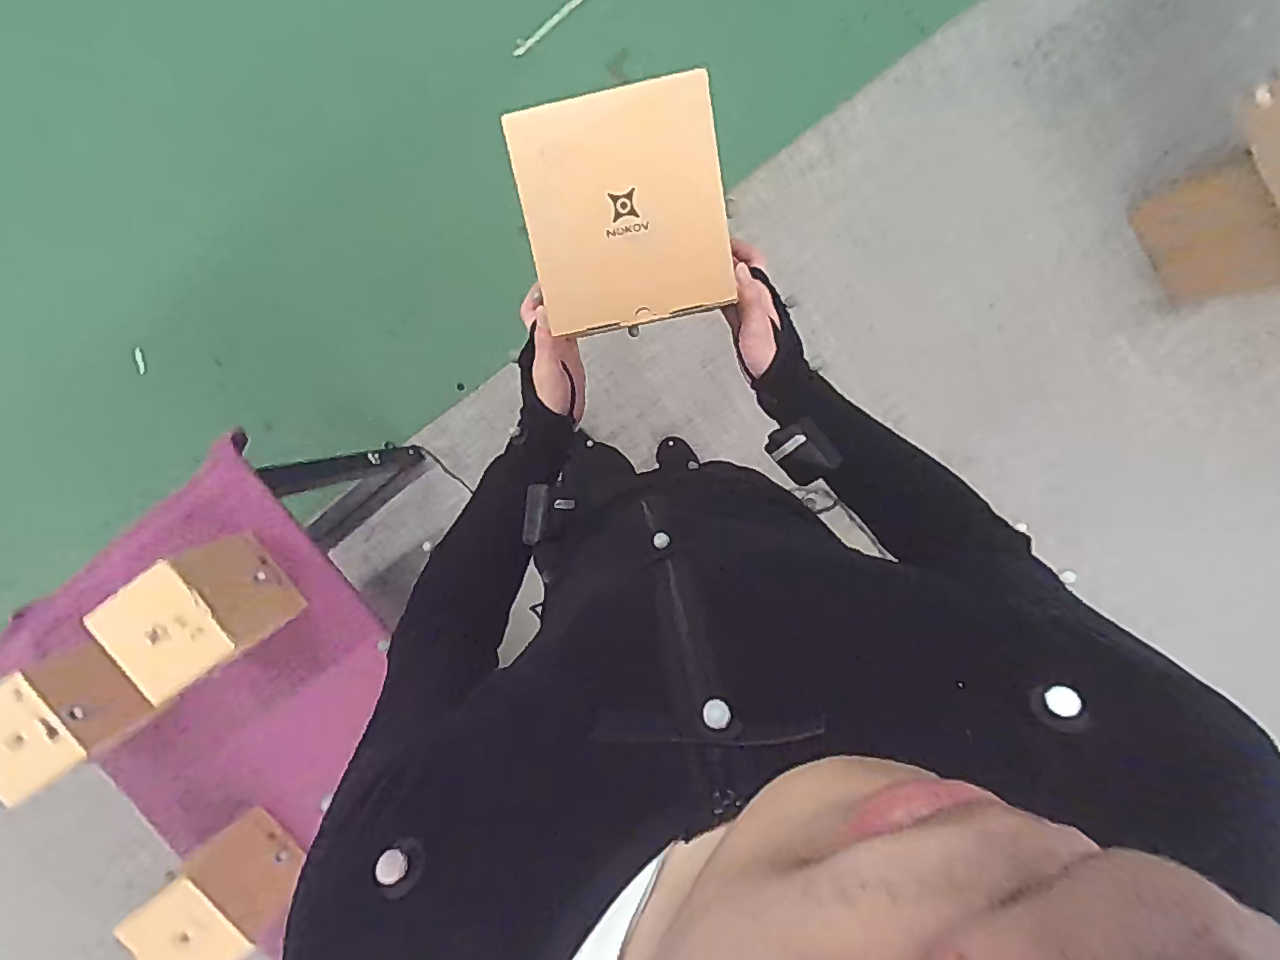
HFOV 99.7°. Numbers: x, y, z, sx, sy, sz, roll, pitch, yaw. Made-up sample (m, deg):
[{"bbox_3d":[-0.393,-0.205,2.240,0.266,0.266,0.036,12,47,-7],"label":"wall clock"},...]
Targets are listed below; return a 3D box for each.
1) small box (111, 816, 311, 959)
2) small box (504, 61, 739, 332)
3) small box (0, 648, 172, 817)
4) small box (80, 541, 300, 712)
[{"bbox_3d":[-0.728,0.743,0.940,0.179,0.176,0.168,-38,95,6],"label":"small box"},{"bbox_3d":[-0.012,-0.242,0.508,0.168,0.176,0.179,-10,107,3],"label":"small box"},{"bbox_3d":[-0.961,0.406,0.908,0.179,0.176,0.168,-34,95,7],"label":"small box"},{"bbox_3d":[-0.703,0.224,0.868,0.179,0.176,0.168,-35,96,7],"label":"small box"}]
